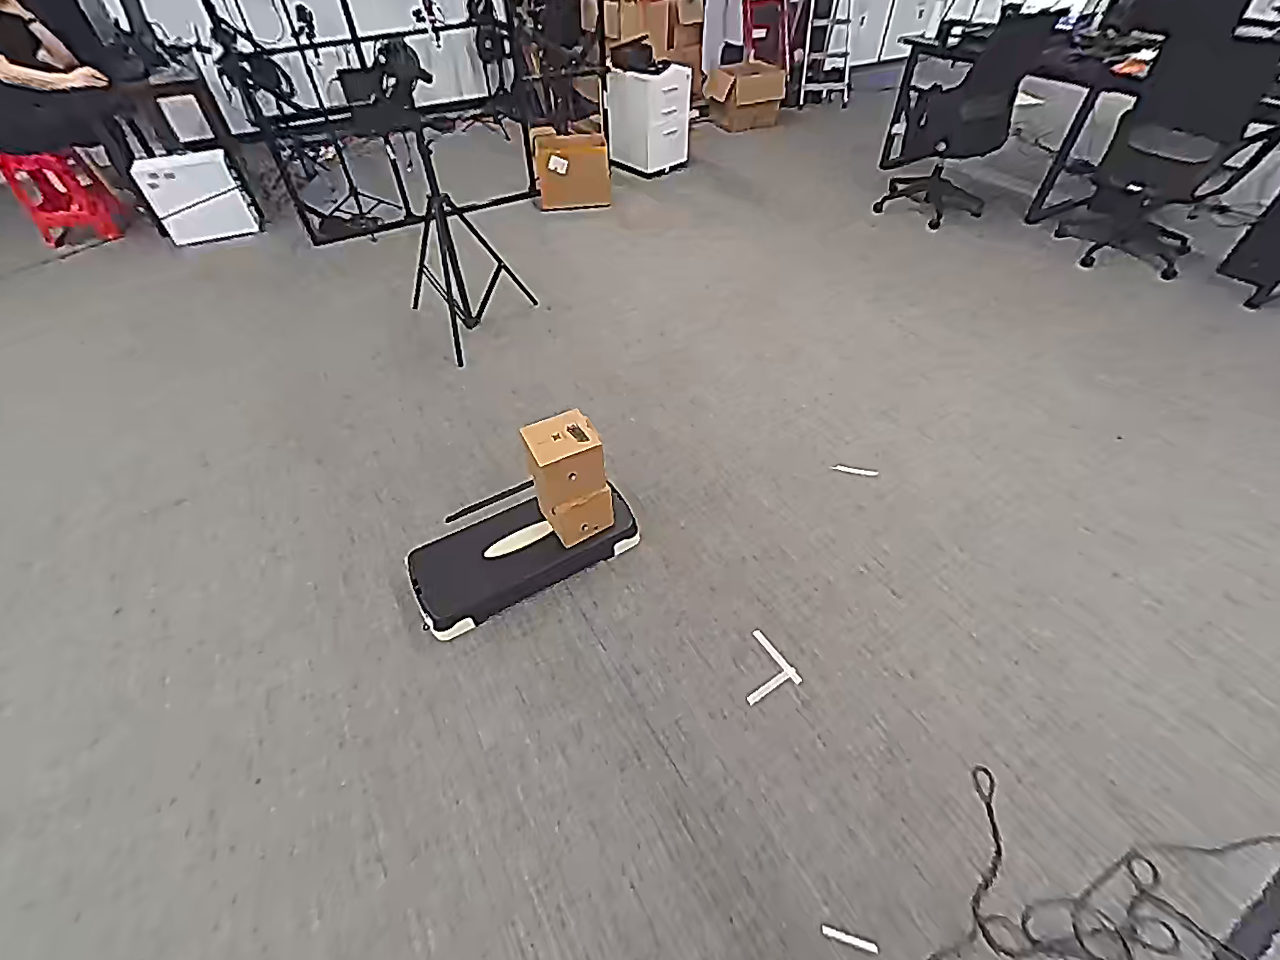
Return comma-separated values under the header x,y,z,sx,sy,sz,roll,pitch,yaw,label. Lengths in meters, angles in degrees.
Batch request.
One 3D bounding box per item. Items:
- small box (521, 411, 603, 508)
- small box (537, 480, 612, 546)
x,y,z,sx,sy,sz,roll,pitch,yaw,label
-0.209,-0.055,1.490,0.179,0.176,0.168,-22,51,-17,small box
-0.196,0.063,1.604,0.168,0.176,0.179,-26,53,-22,small box
